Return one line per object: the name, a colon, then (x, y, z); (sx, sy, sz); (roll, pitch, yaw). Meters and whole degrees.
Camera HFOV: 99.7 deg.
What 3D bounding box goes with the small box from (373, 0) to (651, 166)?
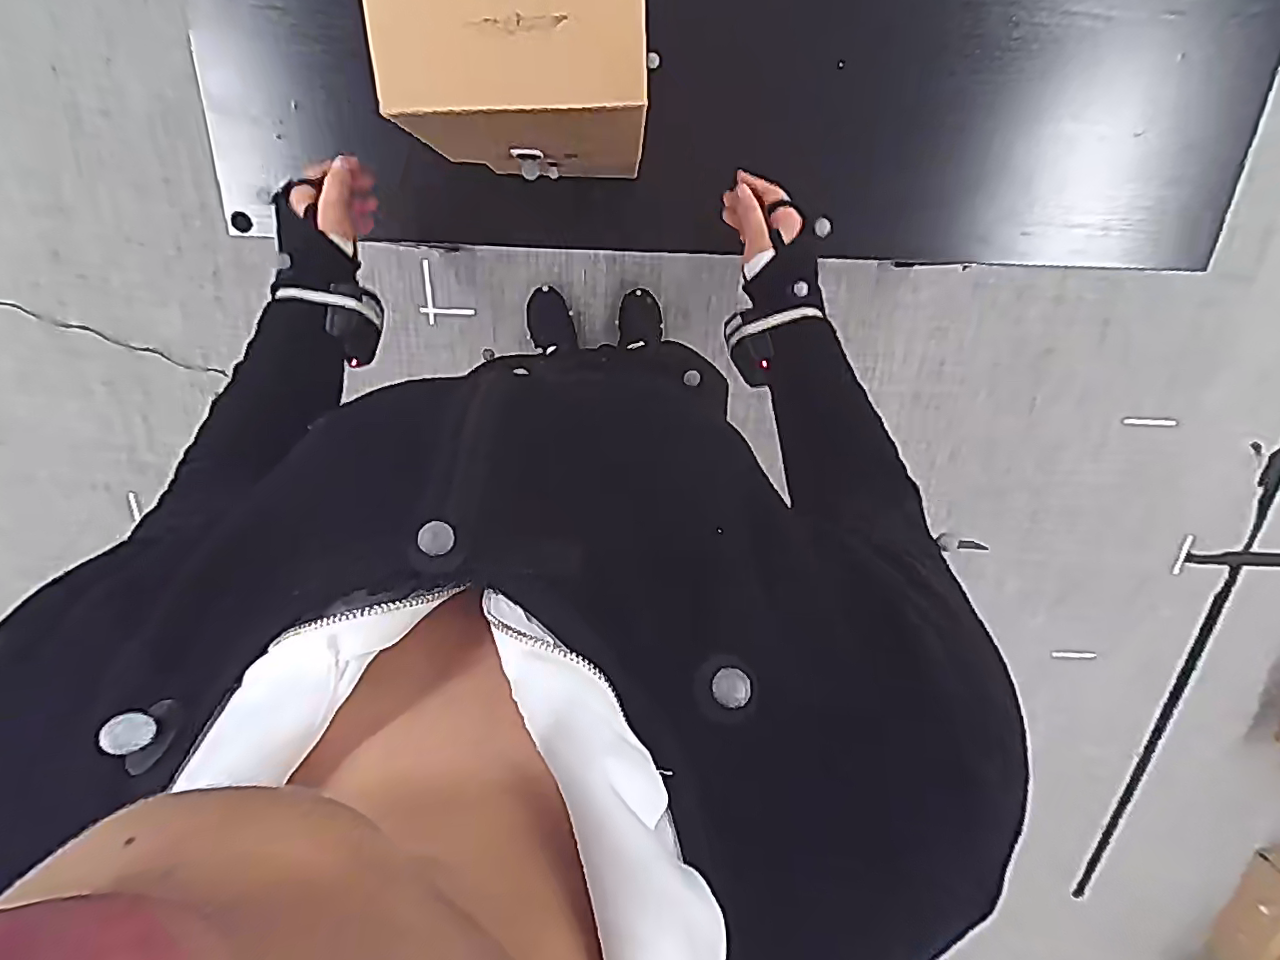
small box: (-0.079, -0.341, 0.386); (0.168, 0.176, 0.179); (-2, 111, 0)
